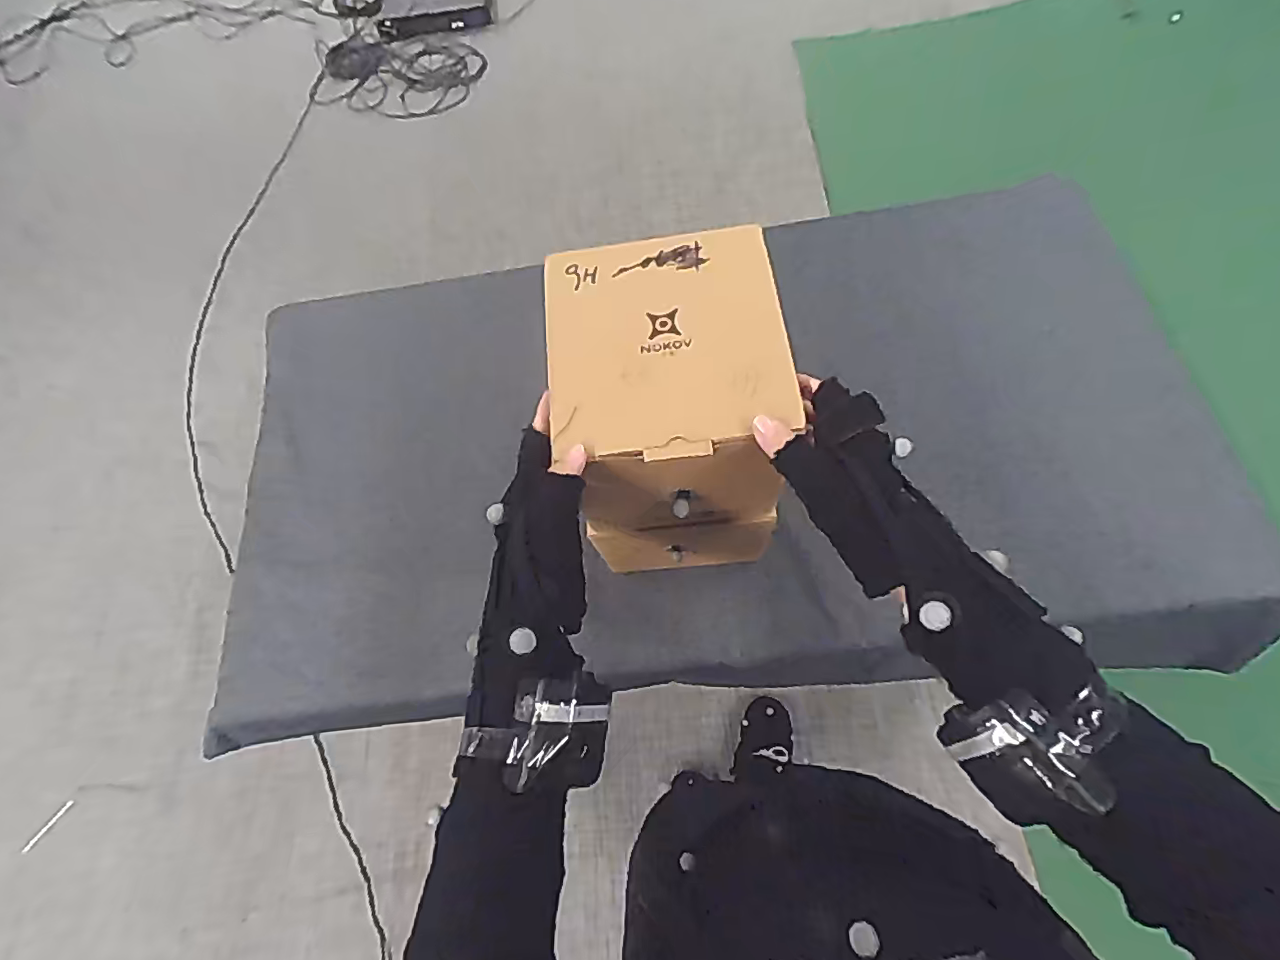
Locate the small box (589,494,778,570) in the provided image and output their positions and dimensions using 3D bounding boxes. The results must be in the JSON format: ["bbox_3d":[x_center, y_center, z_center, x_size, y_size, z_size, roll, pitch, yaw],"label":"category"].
[{"bbox_3d":[0.042,-0.002,0.598,0.179,0.176,0.168,-6,68,5],"label":"small box"}]

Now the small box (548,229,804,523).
[{"bbox_3d":[0.026,-0.068,0.449,0.168,0.176,0.179,-7,70,3],"label":"small box"}]
